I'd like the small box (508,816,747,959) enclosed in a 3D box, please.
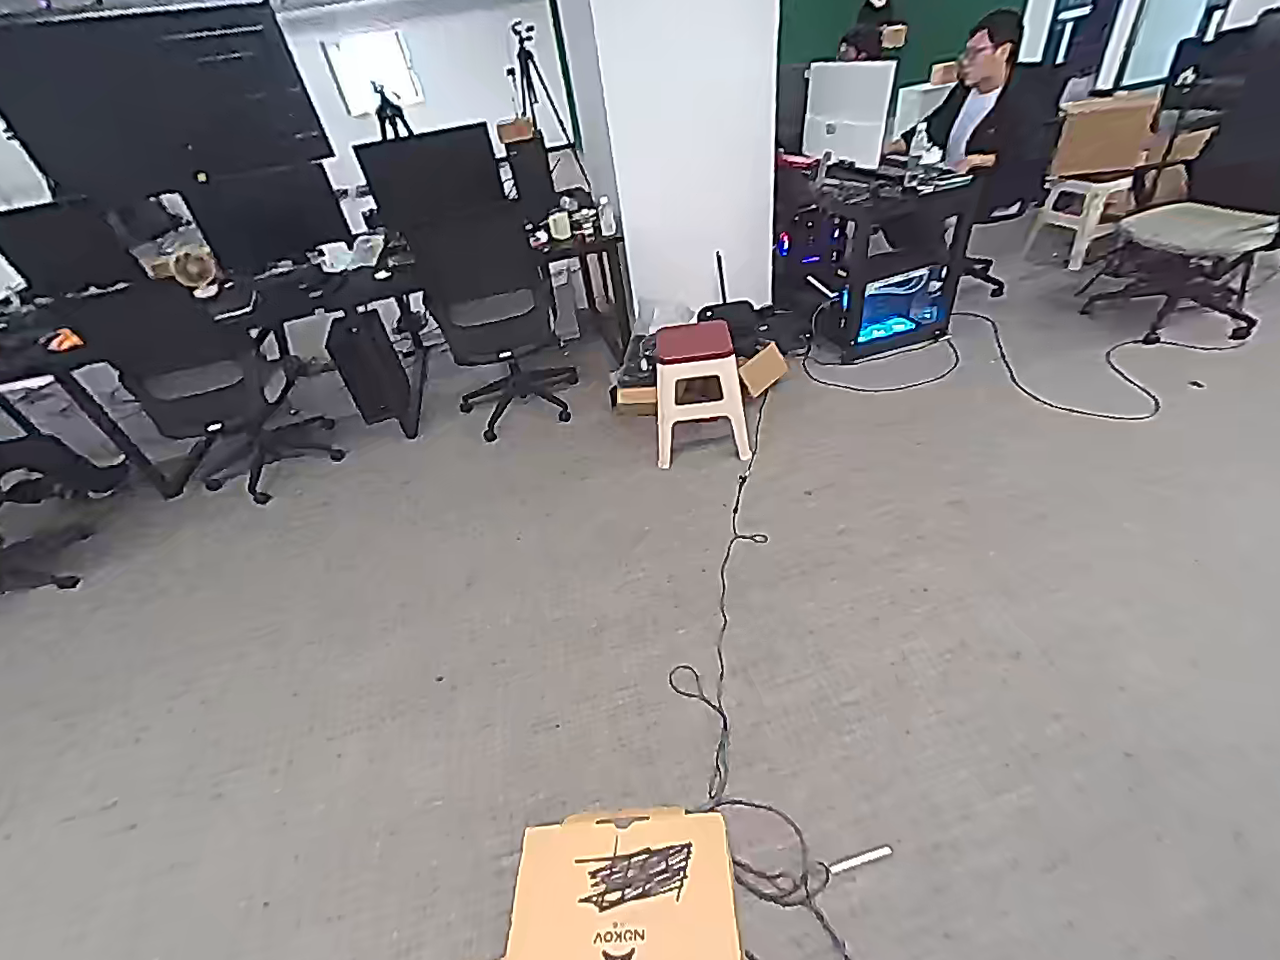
[{"bbox_3d":[0.000,0.393,0.411,0.168,0.176,0.179,-8,32,5],"label":"small box"}]
